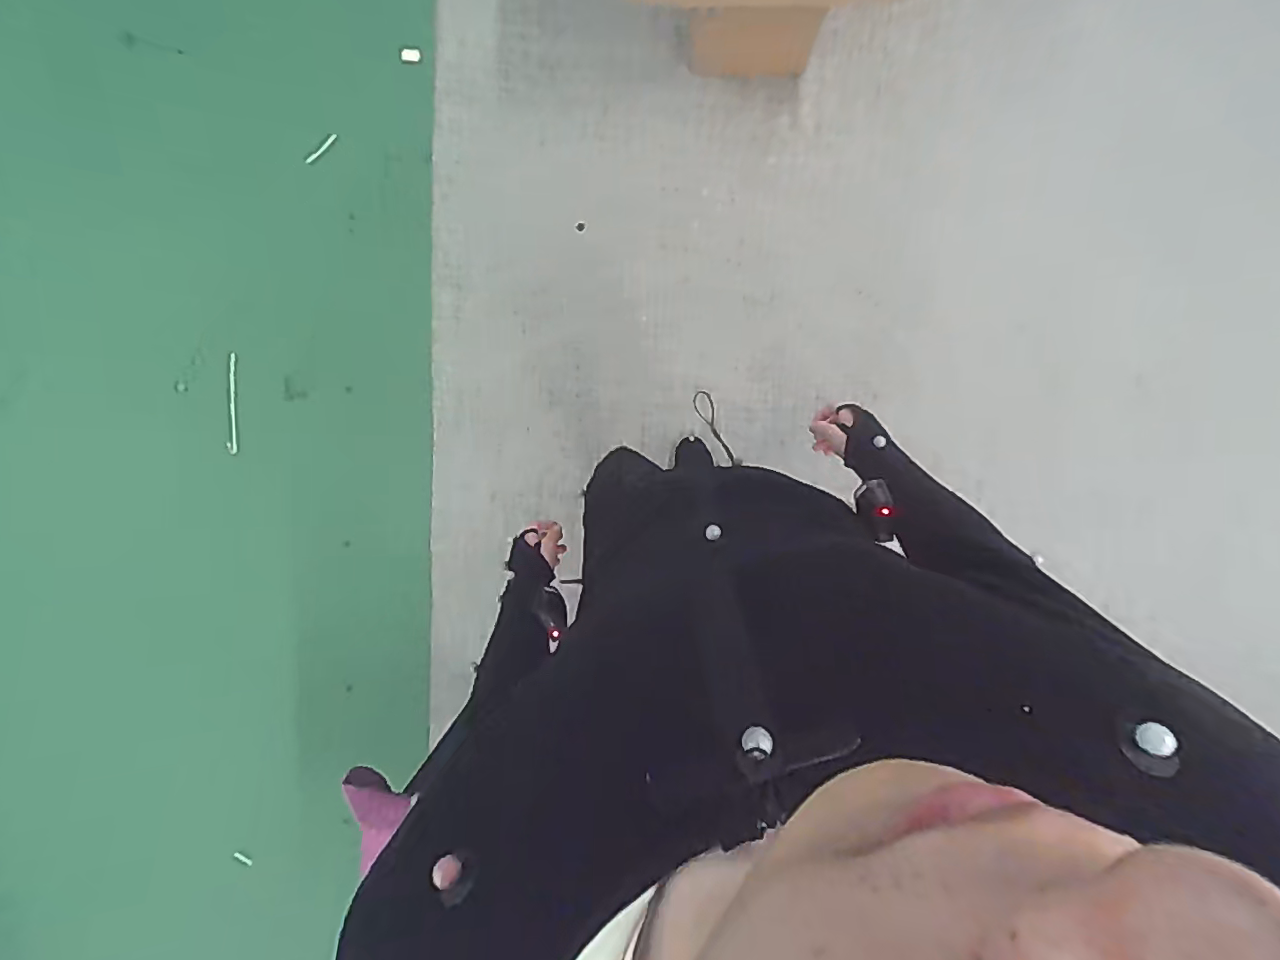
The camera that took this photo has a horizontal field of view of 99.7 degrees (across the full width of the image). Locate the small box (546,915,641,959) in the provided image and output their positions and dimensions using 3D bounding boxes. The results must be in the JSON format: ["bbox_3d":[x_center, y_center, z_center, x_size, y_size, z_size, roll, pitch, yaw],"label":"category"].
[{"bbox_3d":[-0.083,0.917,0.944,0.168,0.176,0.179,0,97,4],"label":"small box"}]
